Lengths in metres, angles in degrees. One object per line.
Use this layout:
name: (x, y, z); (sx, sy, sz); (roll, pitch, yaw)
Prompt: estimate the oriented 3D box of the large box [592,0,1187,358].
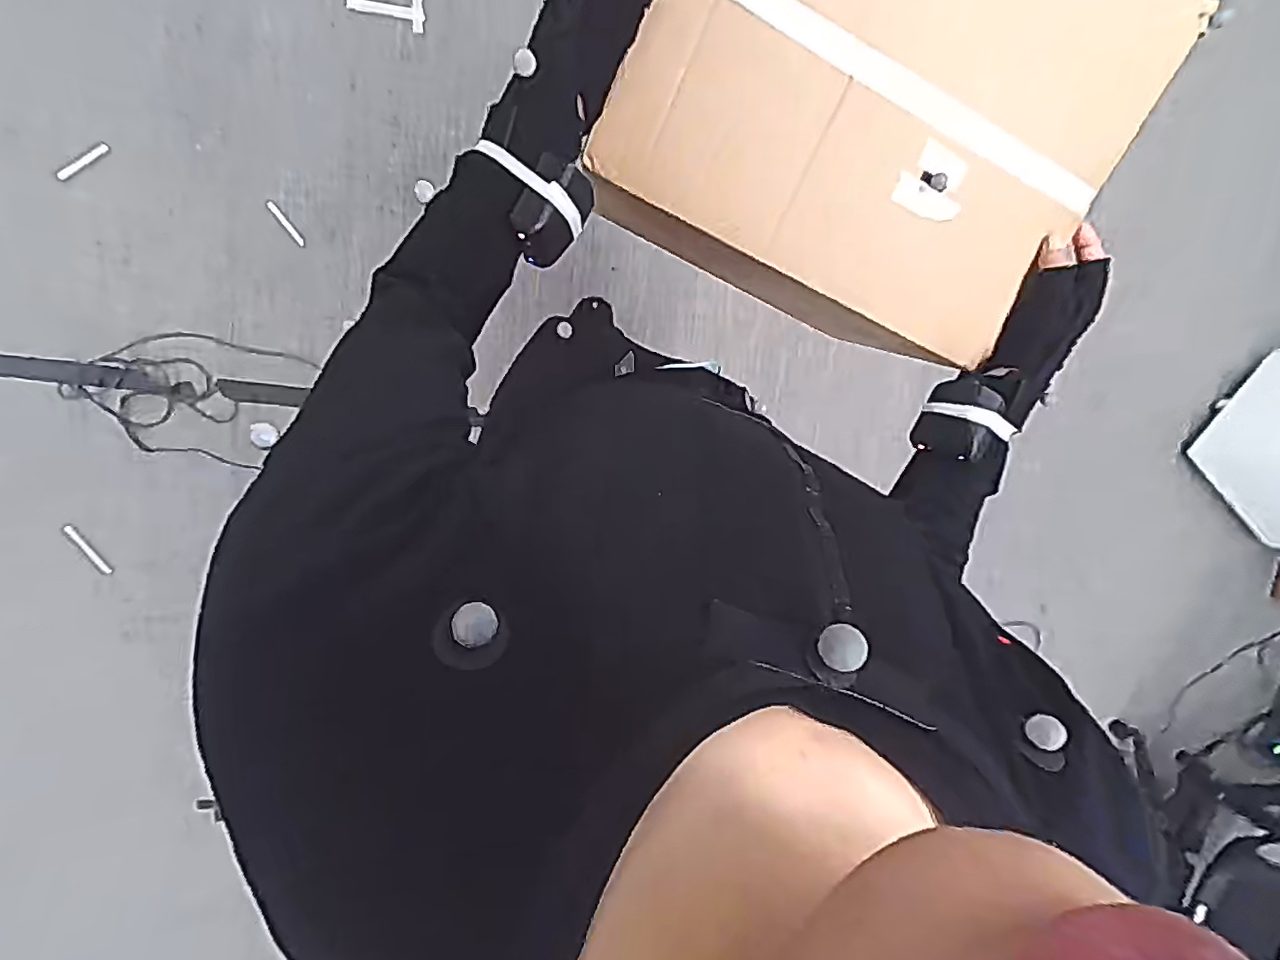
large box: (0.187, -0.369, 0.574); (0.408, 0.320, 0.320); (22, 108, -13)
